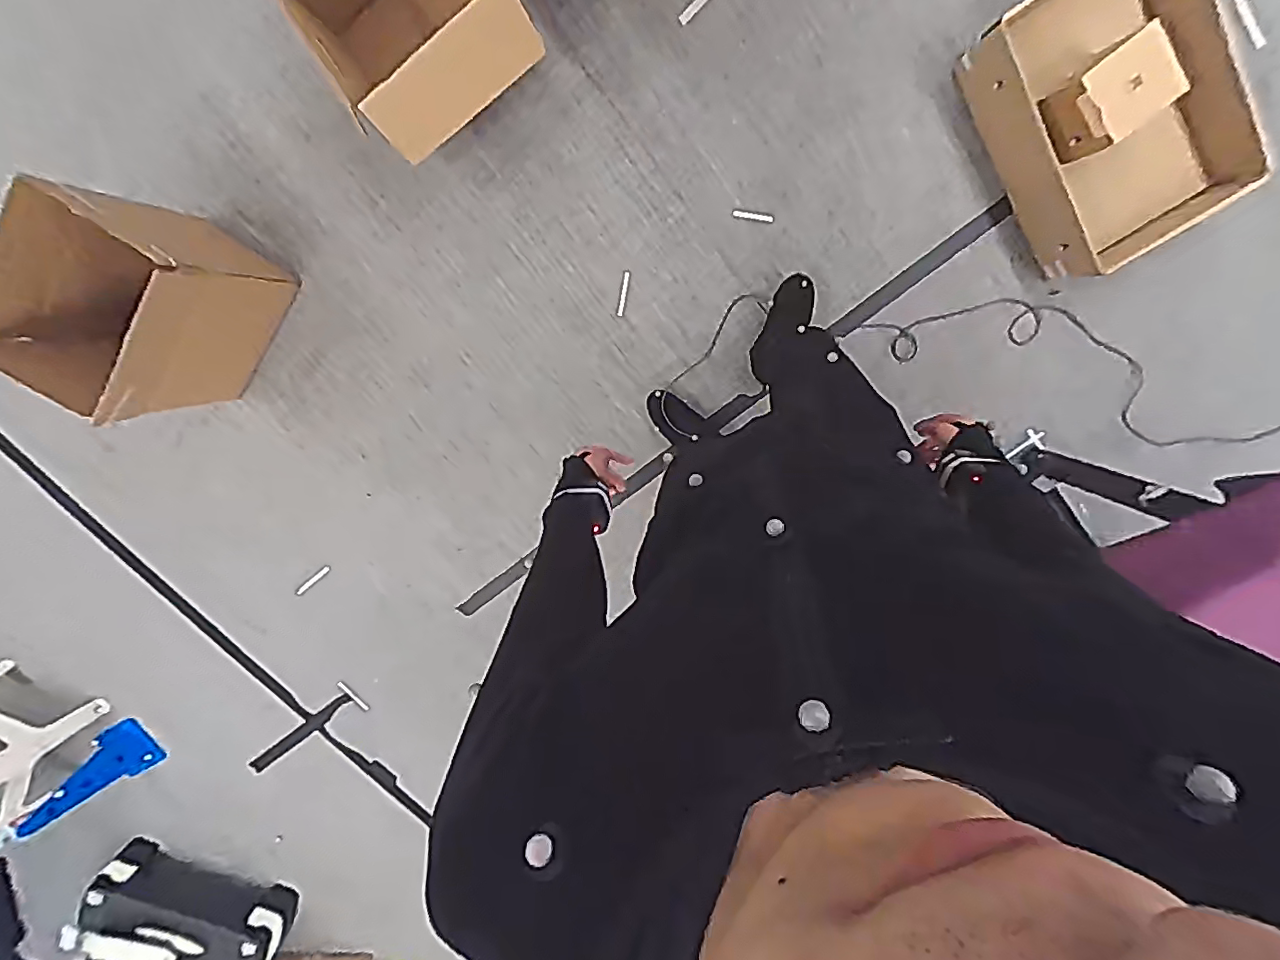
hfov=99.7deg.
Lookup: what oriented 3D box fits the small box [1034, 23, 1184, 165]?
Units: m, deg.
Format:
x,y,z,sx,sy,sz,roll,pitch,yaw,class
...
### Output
x,y,z,sx,sy,sz,roll,pitch,yaw,class
1.044,-0.858,1.227,0.179,0.176,0.168,-37,103,11,small box
